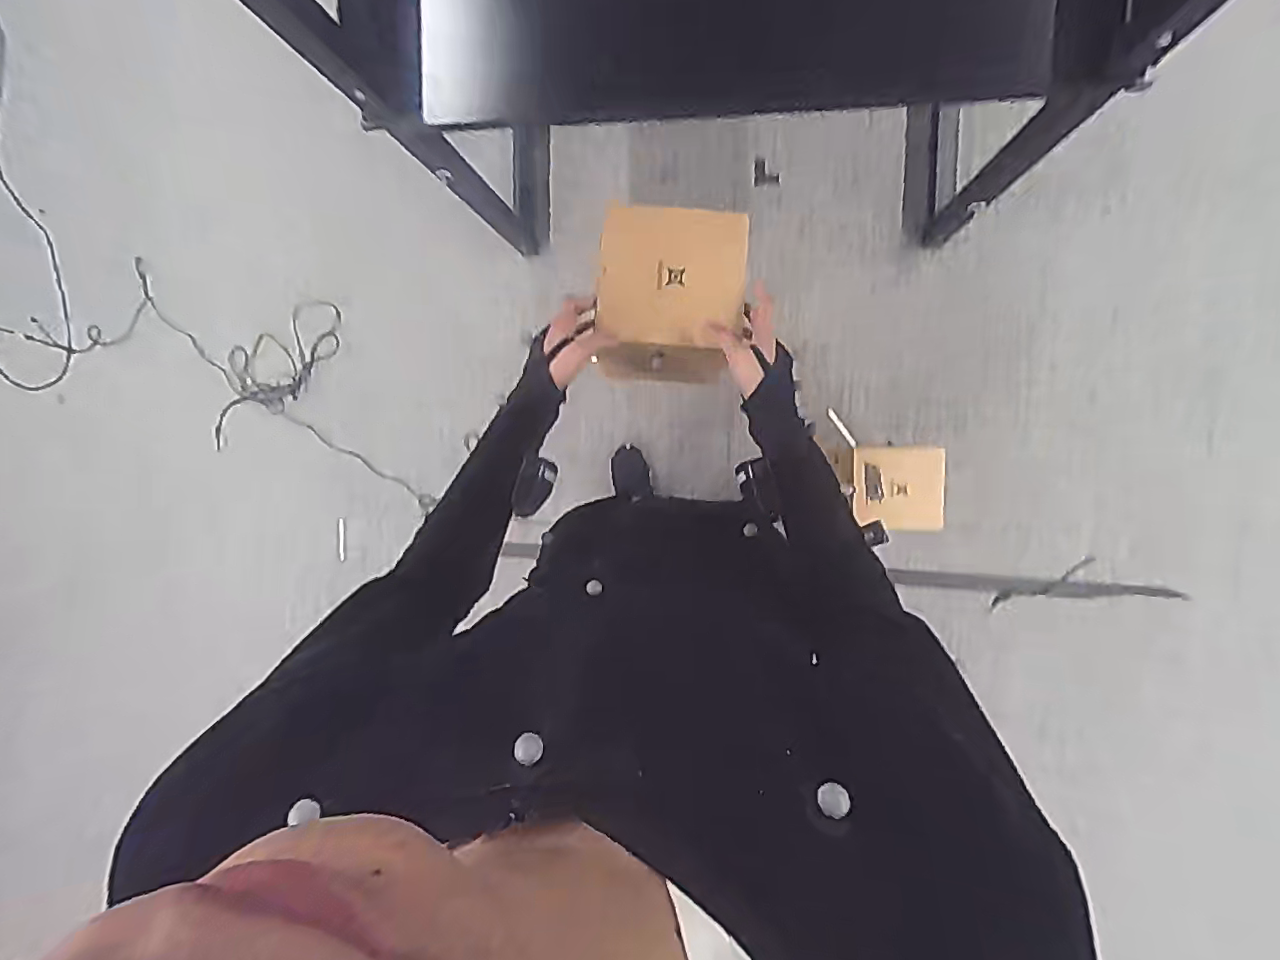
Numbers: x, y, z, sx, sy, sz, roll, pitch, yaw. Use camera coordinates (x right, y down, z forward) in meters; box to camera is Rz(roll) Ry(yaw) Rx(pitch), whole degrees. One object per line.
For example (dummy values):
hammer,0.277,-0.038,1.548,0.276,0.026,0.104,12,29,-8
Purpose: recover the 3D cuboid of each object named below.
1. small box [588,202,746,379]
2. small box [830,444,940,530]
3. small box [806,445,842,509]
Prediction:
small box,0.032,-0.233,0.705,0.179,0.176,0.168,3,87,1
small box,0.511,0.009,1.152,0.179,0.176,0.168,0,96,7
small box,0.561,-0.010,1.477,0.179,0.176,0.168,2,95,8
